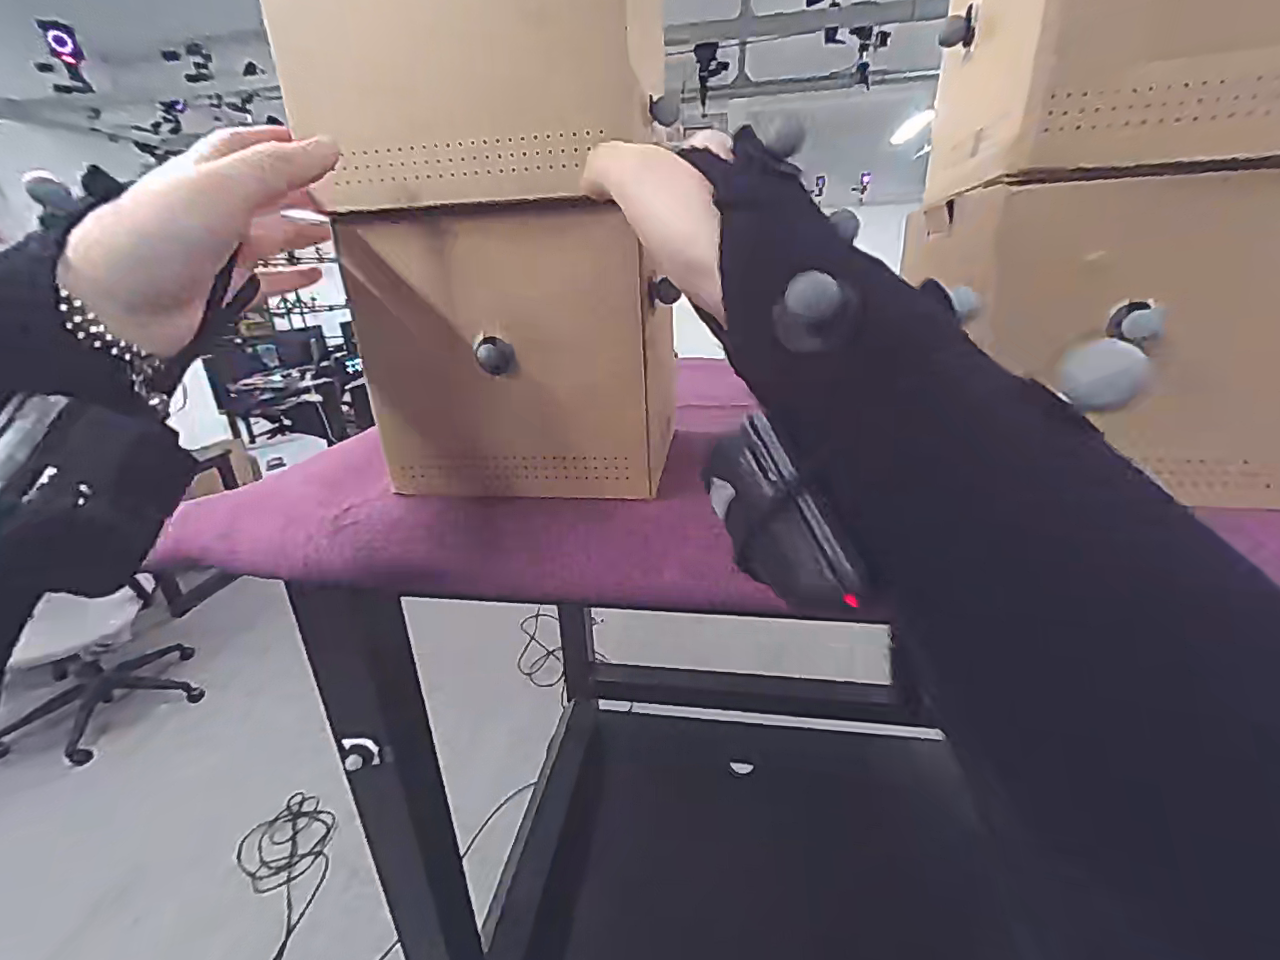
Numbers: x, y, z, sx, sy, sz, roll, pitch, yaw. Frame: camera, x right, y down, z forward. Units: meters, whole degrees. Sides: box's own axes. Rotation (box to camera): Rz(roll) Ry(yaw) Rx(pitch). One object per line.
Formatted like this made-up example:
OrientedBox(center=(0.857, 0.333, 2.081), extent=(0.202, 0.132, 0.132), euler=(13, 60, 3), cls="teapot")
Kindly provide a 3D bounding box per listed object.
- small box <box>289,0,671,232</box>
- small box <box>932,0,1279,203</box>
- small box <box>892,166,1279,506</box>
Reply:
OrientedBox(center=(-0.077, -0.243, 0.318), extent=(0.179, 0.176, 0.168), euler=(2, 22, 8), cls="small box")
OrientedBox(center=(0.269, -0.241, 0.282), extent=(0.179, 0.176, 0.168), euler=(4, 22, 13), cls="small box")
OrientedBox(center=(0.273, -0.090, 0.346), extent=(0.179, 0.176, 0.168), euler=(1, 22, 11), cls="small box")
